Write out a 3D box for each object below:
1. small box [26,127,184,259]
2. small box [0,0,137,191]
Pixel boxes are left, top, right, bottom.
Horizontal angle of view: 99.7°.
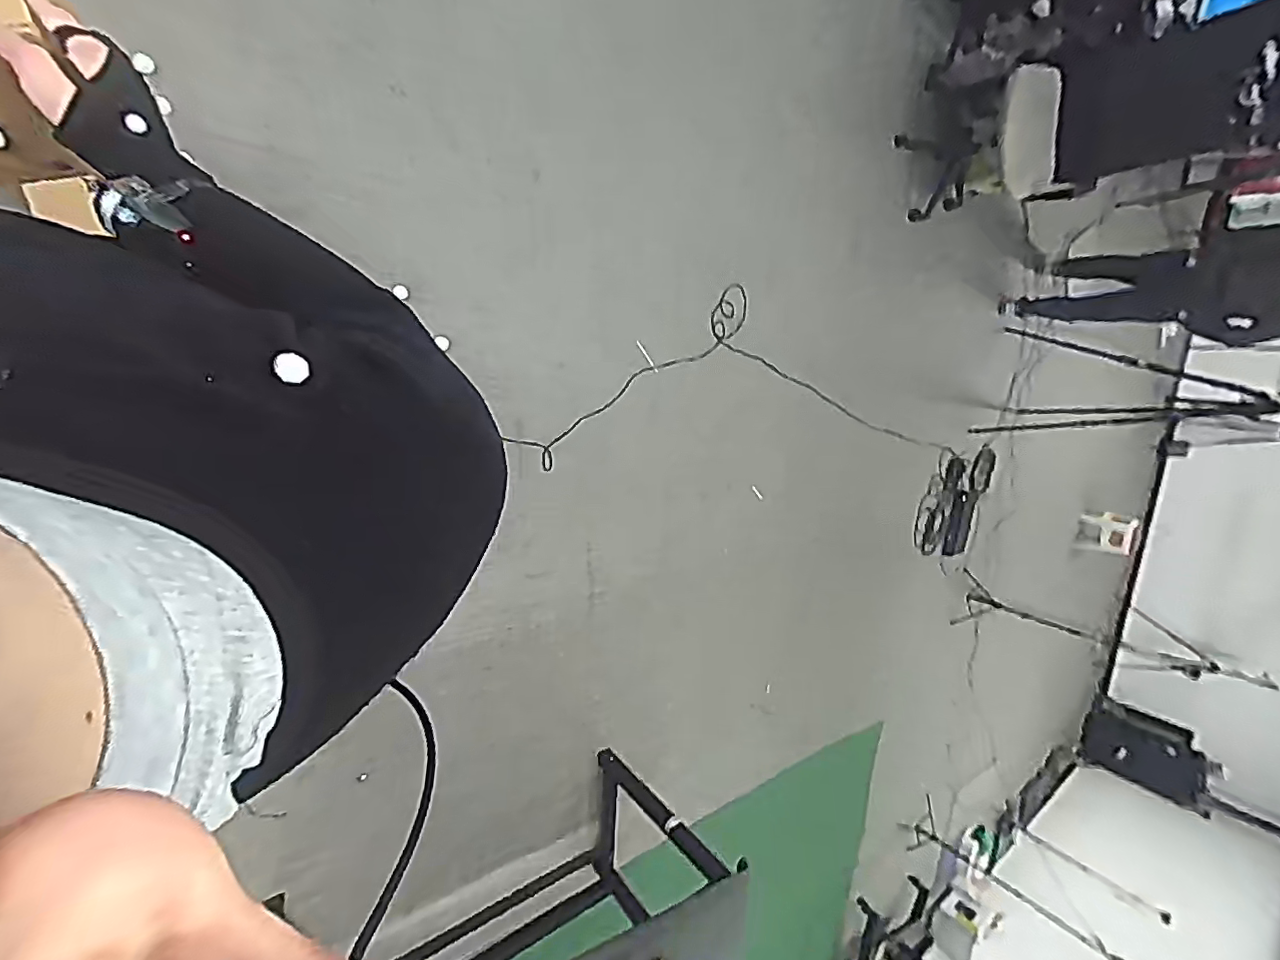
[{"bbox_3d":[-0.894,-0.473,0.903,0.168,0.176,0.179,-18,113,-34],"label":"small box"},{"bbox_3d":[-0.590,-0.372,0.458,0.168,0.176,0.179,-23,92,-21],"label":"small box"}]
